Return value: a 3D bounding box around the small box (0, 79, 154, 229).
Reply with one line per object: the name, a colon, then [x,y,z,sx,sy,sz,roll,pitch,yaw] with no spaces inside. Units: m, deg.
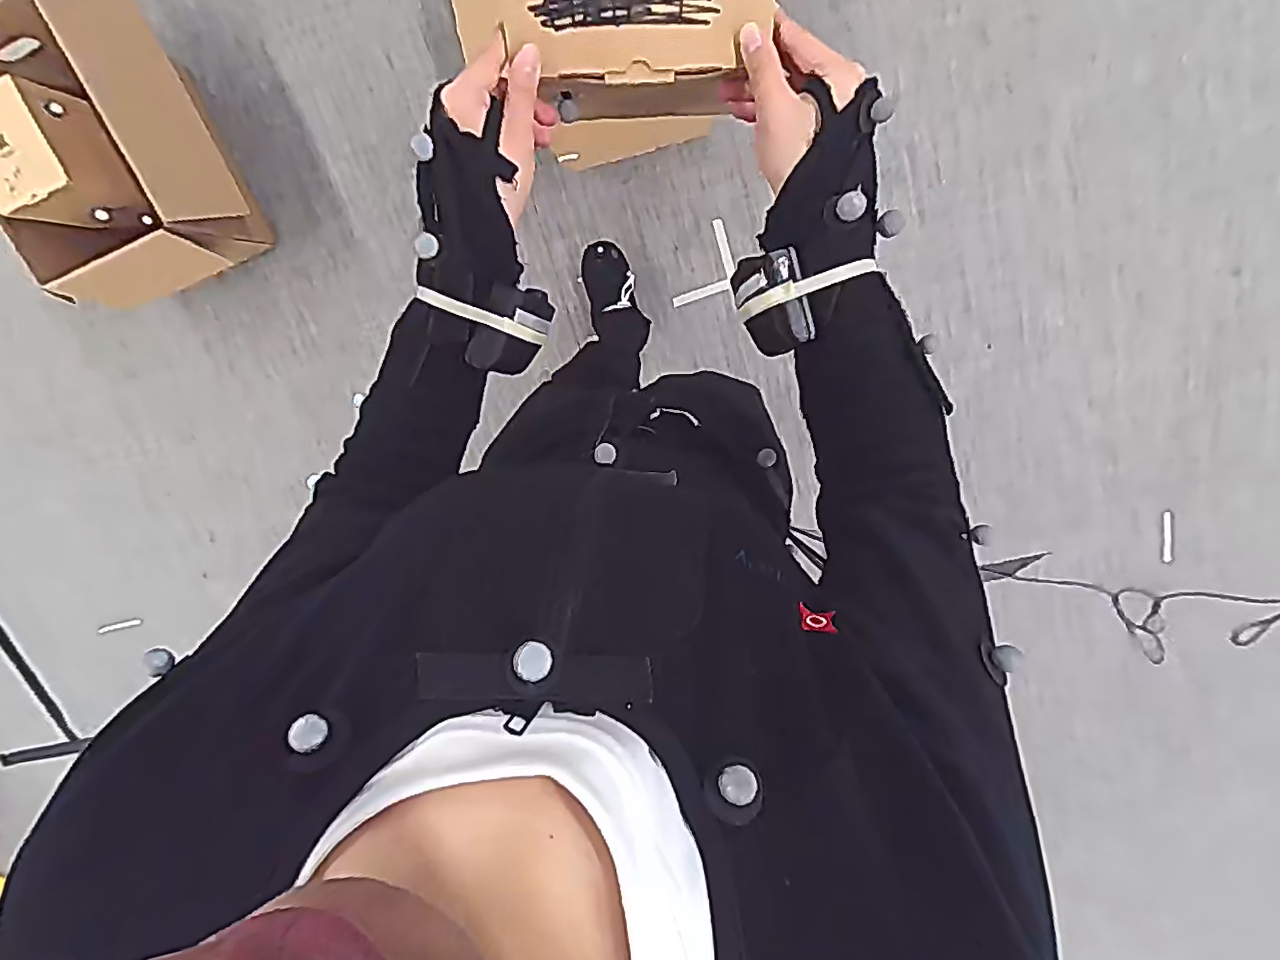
small box: [-1.092,-0.597,1.016,0.168,0.176,0.179,-17,106,10]
